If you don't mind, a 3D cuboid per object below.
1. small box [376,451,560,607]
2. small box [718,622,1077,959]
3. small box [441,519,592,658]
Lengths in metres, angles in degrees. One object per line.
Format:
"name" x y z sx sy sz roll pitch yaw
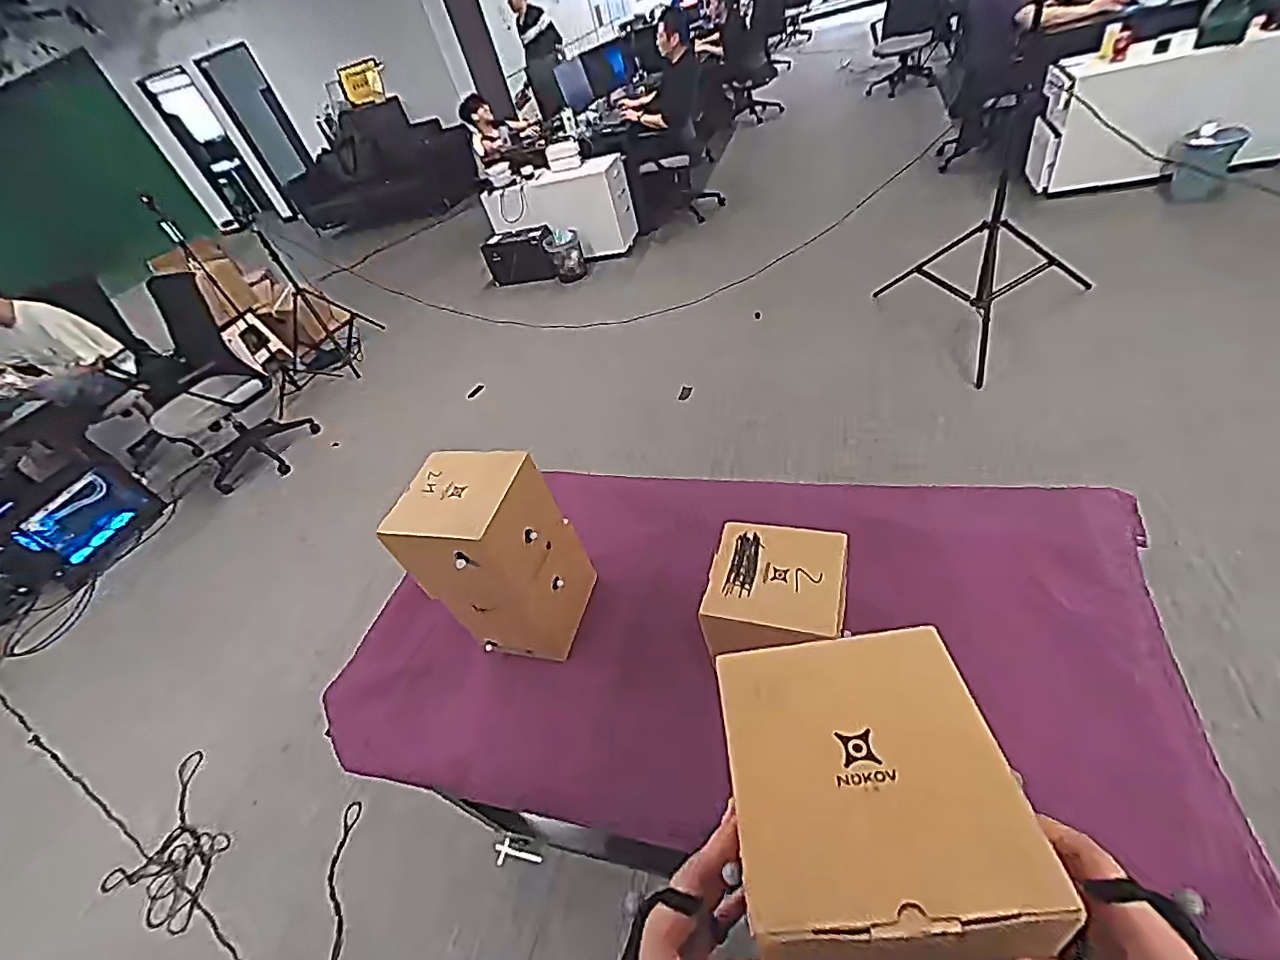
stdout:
"small box" -0.242 0.074 0.814 0.179 0.176 0.168 1 46 20
"small box" 0.155 0.234 0.393 0.168 0.176 0.179 -11 36 7
"small box" -0.198 0.183 0.929 0.168 0.176 0.179 2 46 20
